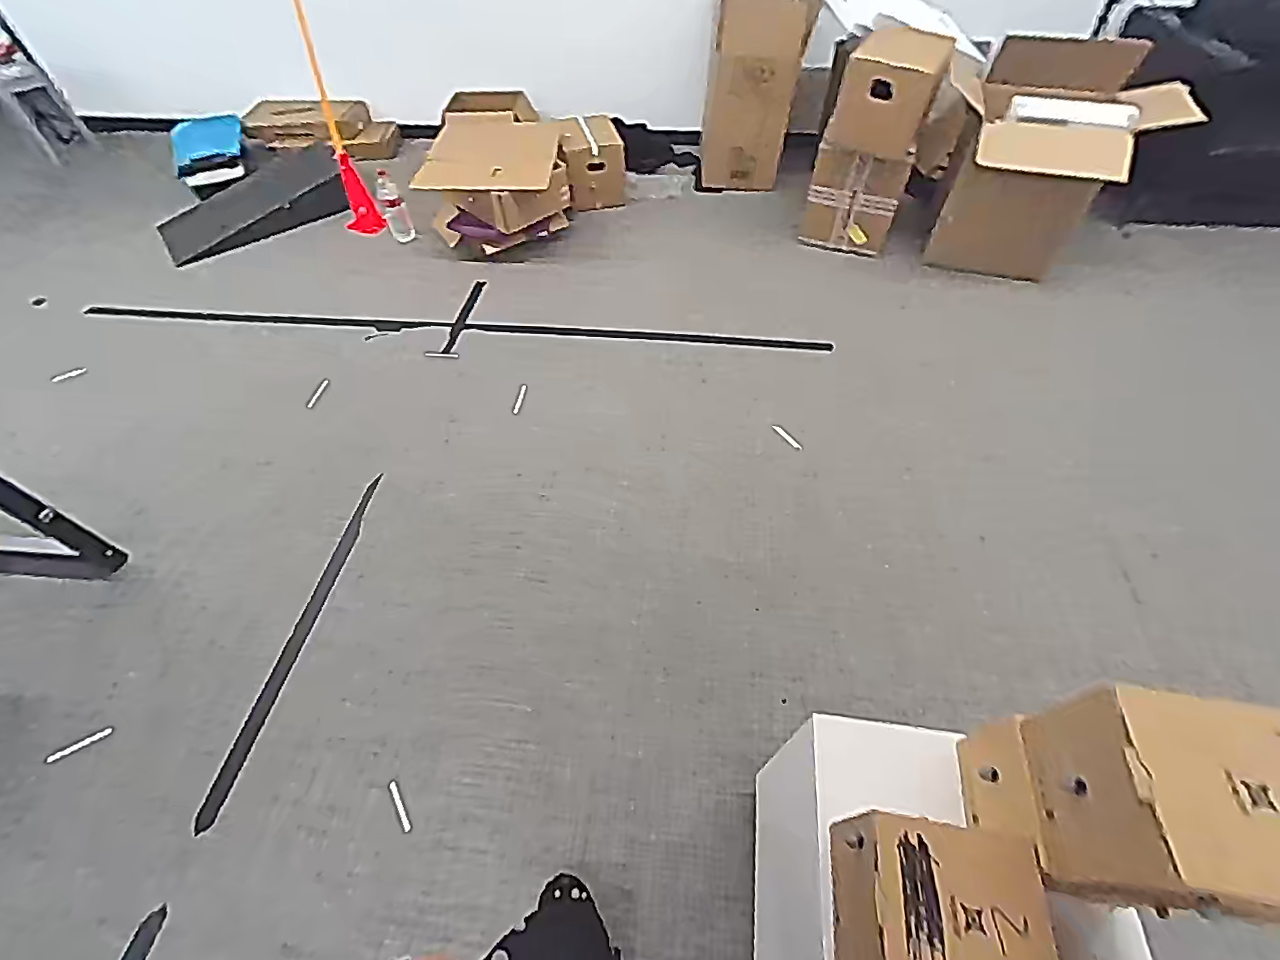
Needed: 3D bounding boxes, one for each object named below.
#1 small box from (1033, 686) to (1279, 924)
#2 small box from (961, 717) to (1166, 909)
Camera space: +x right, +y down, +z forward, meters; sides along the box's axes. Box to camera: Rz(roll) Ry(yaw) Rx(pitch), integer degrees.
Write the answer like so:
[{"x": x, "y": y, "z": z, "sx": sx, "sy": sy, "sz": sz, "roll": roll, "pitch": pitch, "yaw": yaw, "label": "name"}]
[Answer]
[{"x": 0.537, "y": 0.328, "z": 0.546, "sx": 0.179, "sy": 0.176, "sz": 0.168, "roll": 8, "pitch": 54, "yaw": 7, "label": "small box"}, {"x": 0.532, "y": 0.421, "z": 0.681, "sx": 0.179, "sy": 0.176, "sz": 0.168, "roll": 9, "pitch": 54, "yaw": 8, "label": "small box"}]
